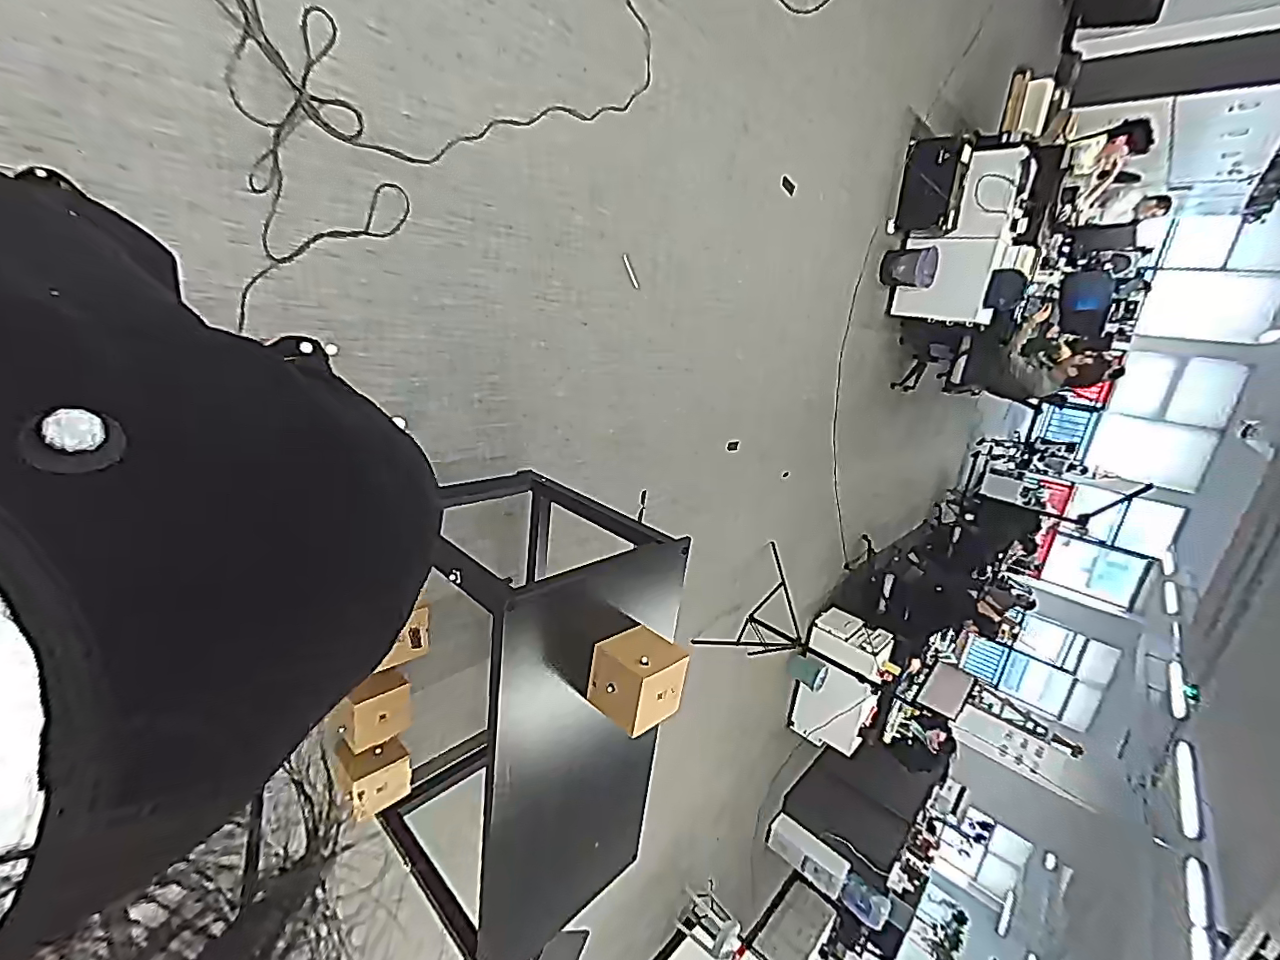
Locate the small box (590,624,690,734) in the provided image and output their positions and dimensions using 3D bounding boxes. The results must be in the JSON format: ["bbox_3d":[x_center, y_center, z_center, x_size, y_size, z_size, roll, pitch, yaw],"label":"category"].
[{"bbox_3d":[-0.004,0.487,1.349,0.179,0.176,0.168,-8,113,-48],"label":"small box"}]

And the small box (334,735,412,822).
[{"bbox_3d":[-0.854,0.932,1.732,0.179,0.176,0.168,-13,116,-46],"label":"small box"}]

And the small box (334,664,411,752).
[{"bbox_3d":[-0.822,0.681,1.660,0.168,0.176,0.179,-12,114,-47],"label":"small box"}]

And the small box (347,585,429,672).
[{"bbox_3d":[-0.754,0.435,1.622,0.179,0.176,0.168,-12,115,-45],"label":"small box"}]
